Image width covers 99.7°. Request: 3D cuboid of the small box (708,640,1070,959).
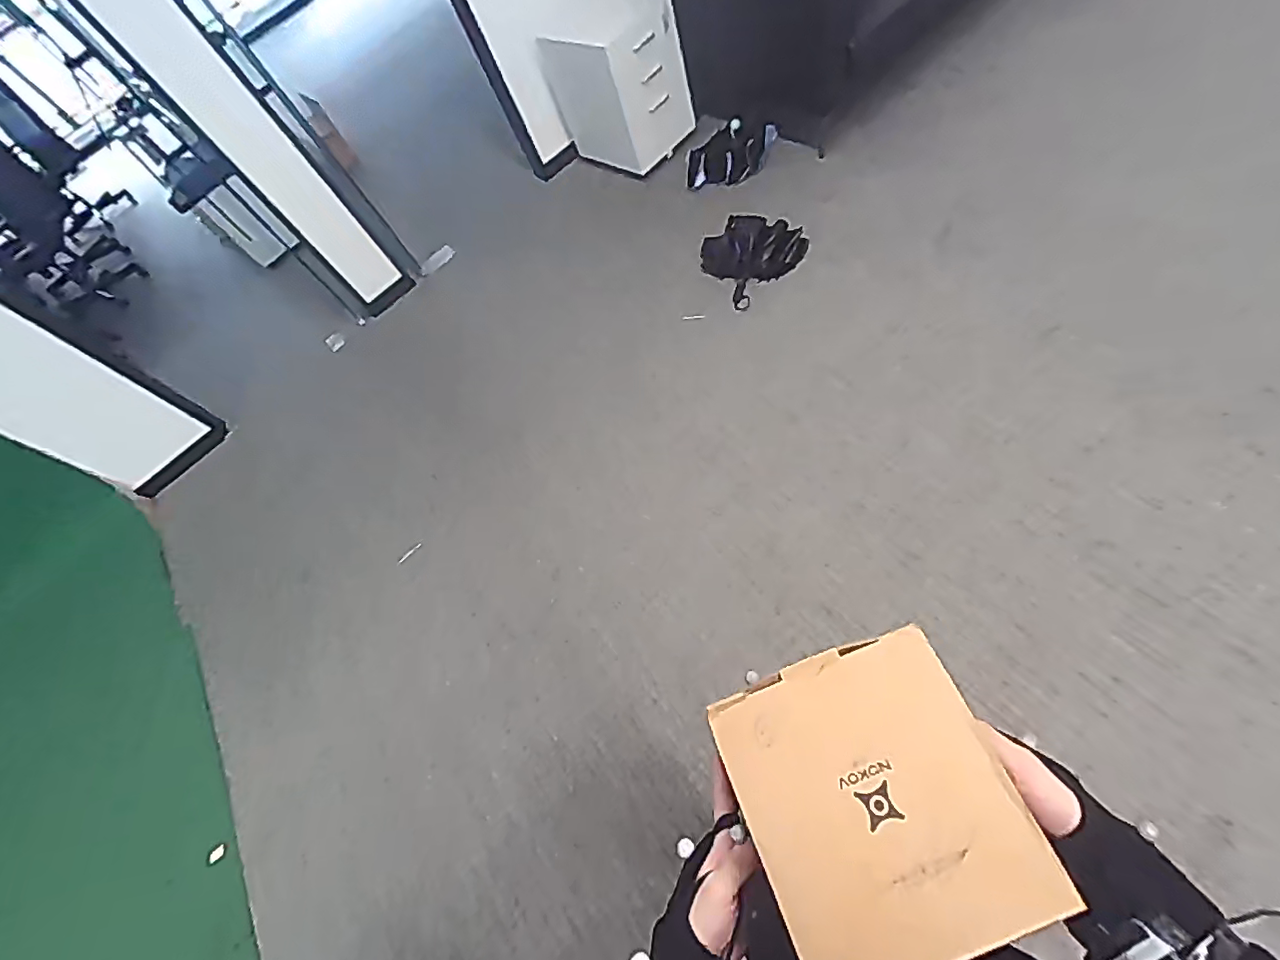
[{"bbox_3d":[0.157,0.245,0.419,0.168,0.176,0.179,-20,65,-1],"label":"small box"}]
